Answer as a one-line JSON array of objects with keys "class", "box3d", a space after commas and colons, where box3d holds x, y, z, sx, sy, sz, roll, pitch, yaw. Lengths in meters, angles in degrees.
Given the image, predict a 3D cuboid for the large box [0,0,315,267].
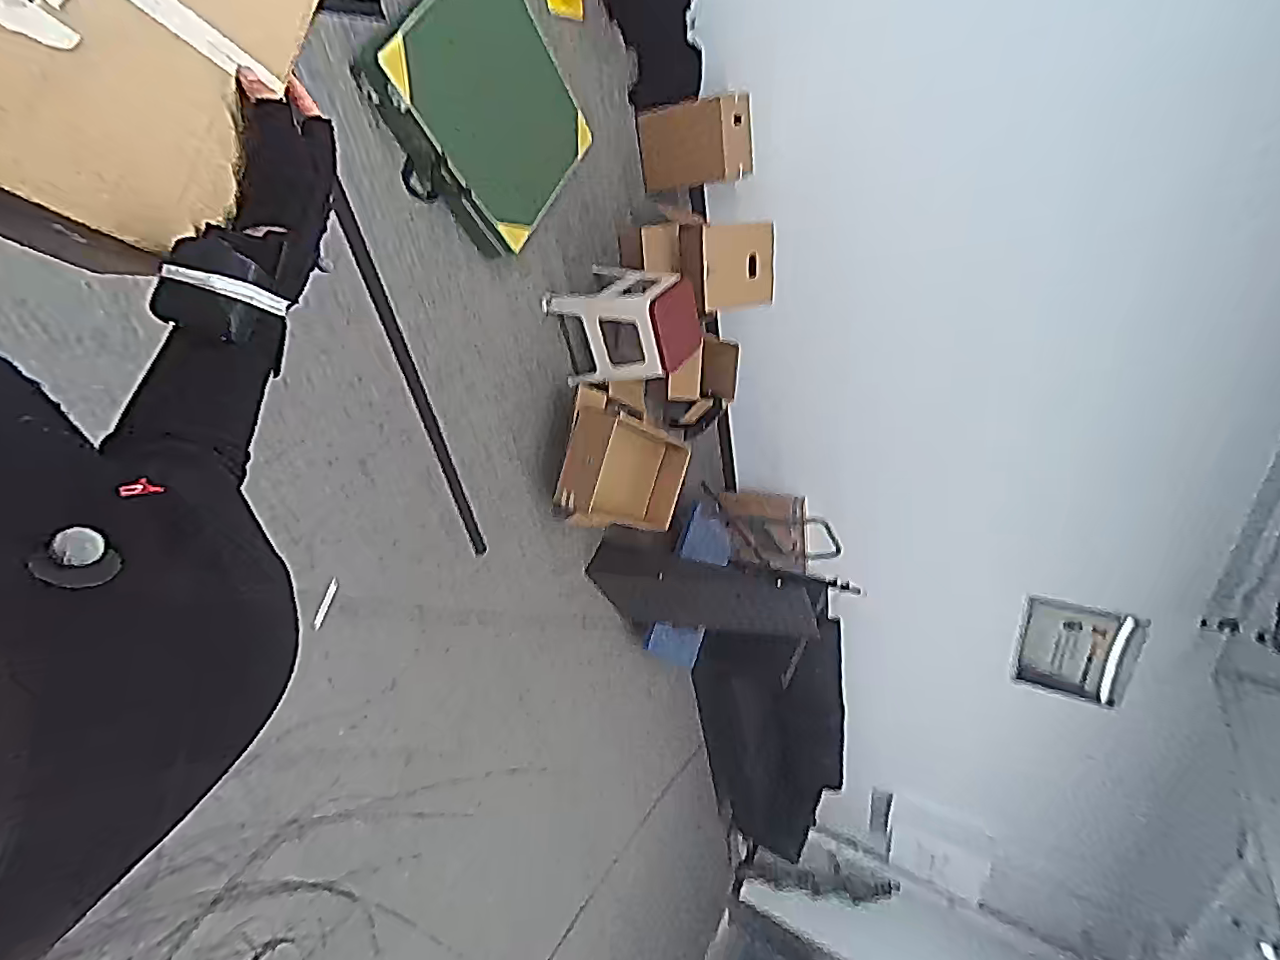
[{"class": "large box", "box3d": [-0.516, -0.384, 0.353, 0.408, 0.320, 0.320, 22, 85, -58]}]
